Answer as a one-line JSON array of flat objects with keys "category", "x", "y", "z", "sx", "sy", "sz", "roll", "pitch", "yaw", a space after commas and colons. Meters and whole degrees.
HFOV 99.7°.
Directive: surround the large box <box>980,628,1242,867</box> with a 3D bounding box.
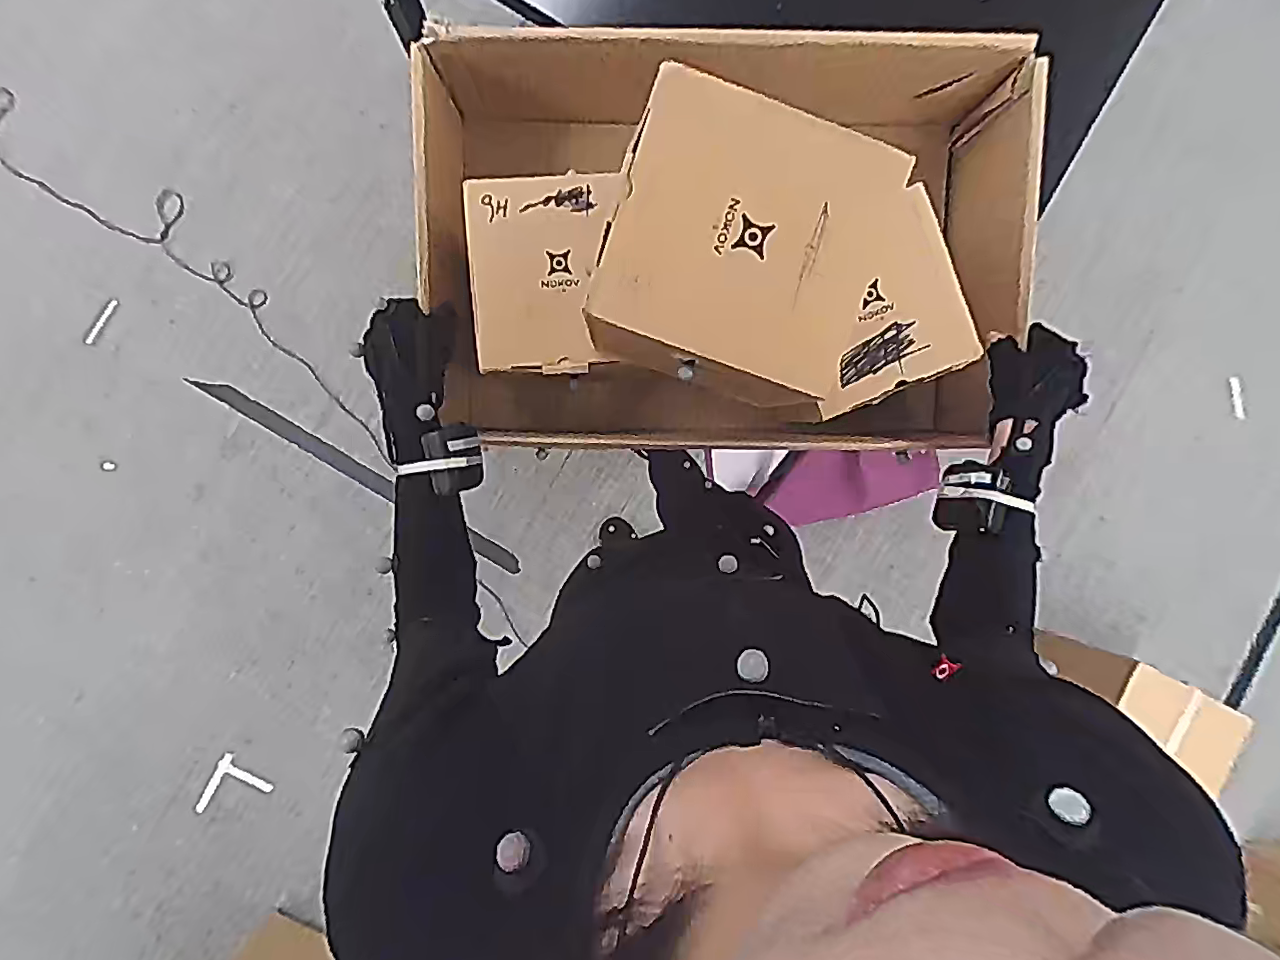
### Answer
[{"category": "large box", "x": 1.193, "y": 0.662, "z": 1.409, "sx": 0.320, "sy": 0.320, "sz": 0.408, "roll": 27, "pitch": 89, "yaw": -1}]
